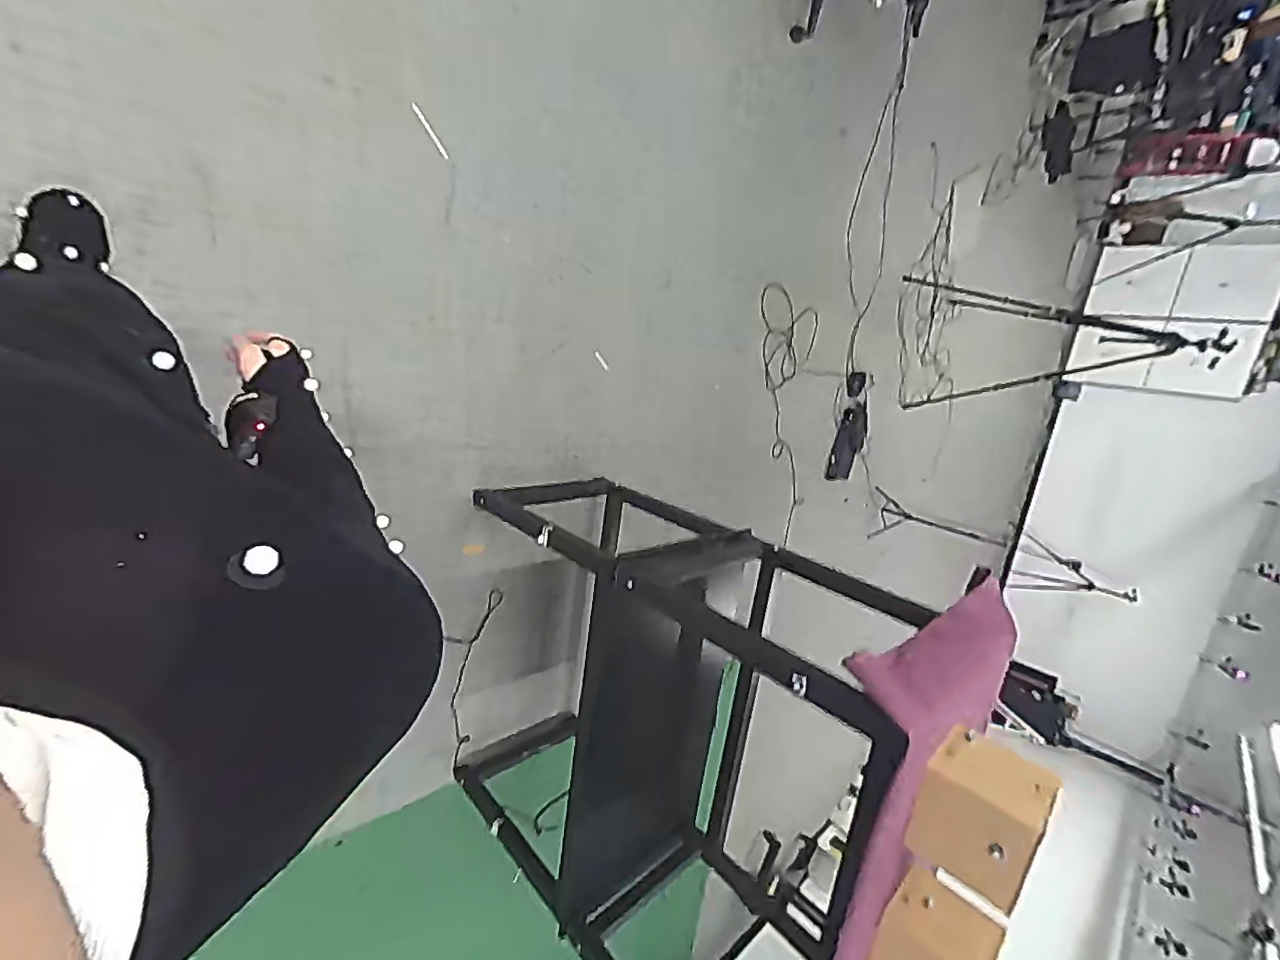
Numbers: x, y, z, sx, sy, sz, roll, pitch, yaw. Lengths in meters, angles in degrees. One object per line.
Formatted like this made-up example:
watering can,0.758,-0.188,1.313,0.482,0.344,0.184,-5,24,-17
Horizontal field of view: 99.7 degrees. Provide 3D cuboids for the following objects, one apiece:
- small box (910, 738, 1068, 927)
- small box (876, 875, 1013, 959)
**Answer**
small box,0.575,0.565,0.901,0.168,0.176,0.179,-9,112,-43
small box,0.542,0.884,0.984,0.168,0.176,0.179,-5,108,-45
